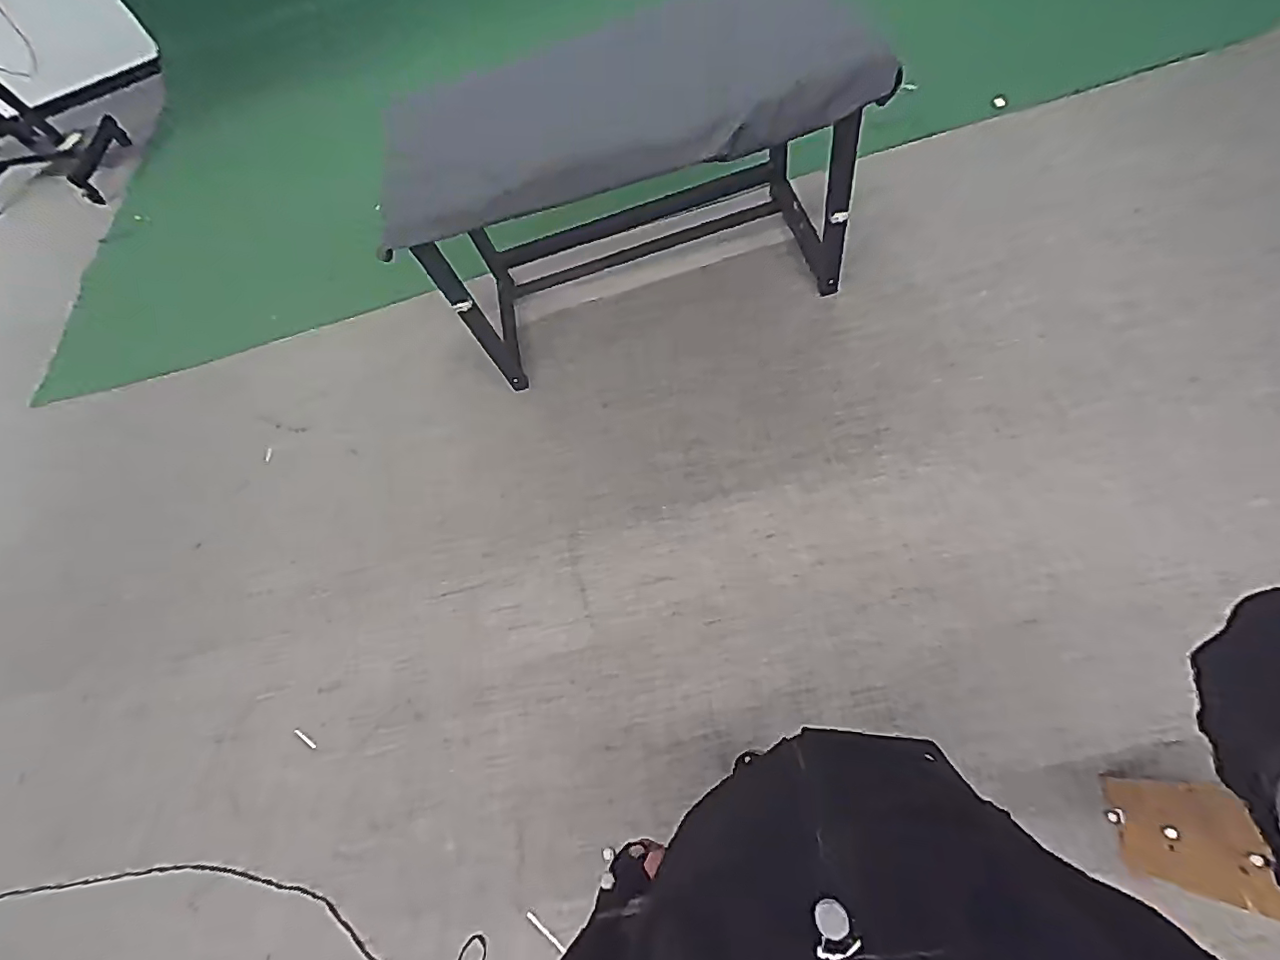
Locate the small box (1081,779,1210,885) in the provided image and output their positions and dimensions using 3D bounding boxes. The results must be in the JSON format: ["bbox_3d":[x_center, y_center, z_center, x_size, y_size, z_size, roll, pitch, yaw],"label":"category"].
[{"bbox_3d":[1.036,0.693,1.072,0.179,0.176,0.168,-4,63,11],"label":"small box"}]

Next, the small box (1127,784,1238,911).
[{"bbox_3d":[1.005,0.624,0.926,0.179,0.176,0.168,-2,63,12],"label":"small box"}]

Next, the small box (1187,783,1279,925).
[{"bbox_3d":[0.969,0.545,0.788,0.179,0.176,0.168,-10,62,7],"label":"small box"}]
